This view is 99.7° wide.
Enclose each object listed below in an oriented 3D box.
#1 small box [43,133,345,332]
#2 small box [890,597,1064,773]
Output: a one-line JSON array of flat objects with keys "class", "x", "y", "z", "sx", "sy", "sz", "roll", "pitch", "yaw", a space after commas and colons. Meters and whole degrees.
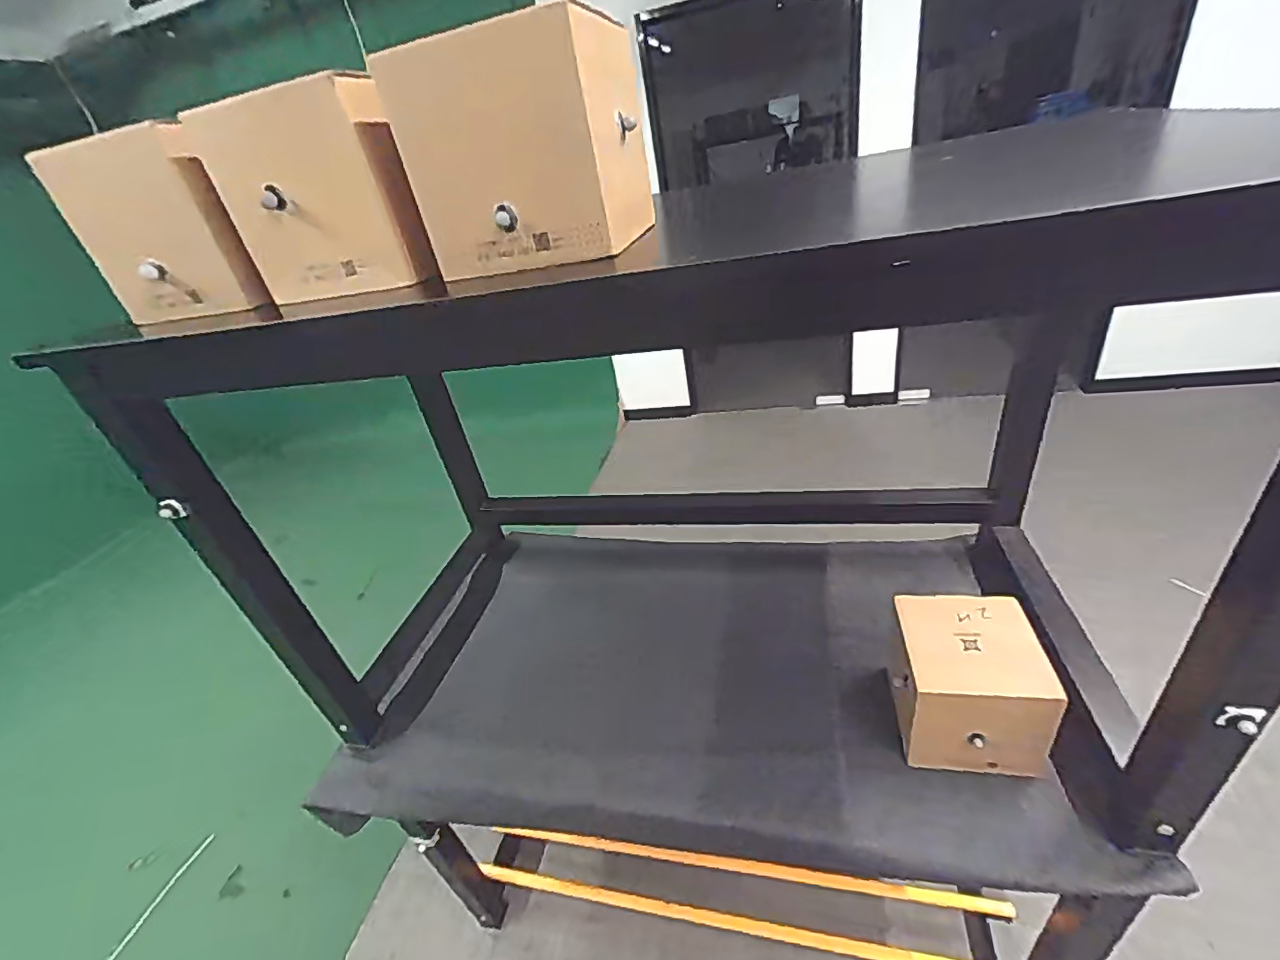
[{"class": "small box", "x": -0.473, "y": -0.279, "z": 0.613, "sx": 0.168, "sy": 0.176, "sz": 0.179, "roll": -2, "pitch": 33, "yaw": 15}, {"class": "small box", "x": 0.464, "y": 0.290, "z": 0.776, "sx": 0.168, "sy": 0.176, "sz": 0.179, "roll": -3, "pitch": 31, "yaw": 15}]
